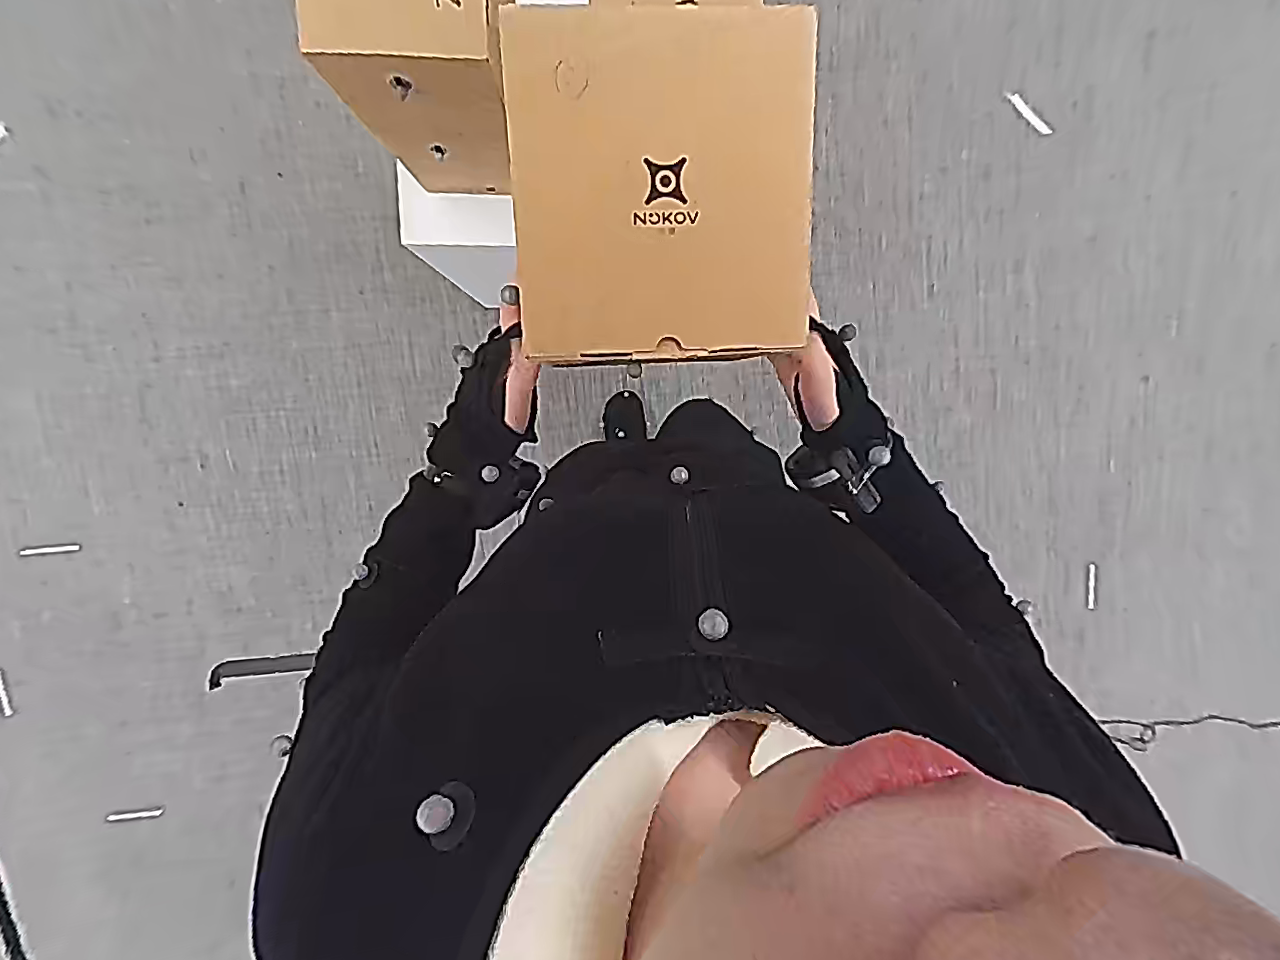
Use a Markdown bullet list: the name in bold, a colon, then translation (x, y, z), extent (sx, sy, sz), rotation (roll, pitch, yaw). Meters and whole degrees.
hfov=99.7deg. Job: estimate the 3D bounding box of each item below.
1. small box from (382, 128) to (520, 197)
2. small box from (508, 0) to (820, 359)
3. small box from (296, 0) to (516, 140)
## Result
- **small box**: translation (-0.238, -0.512, 0.732), extent (0.168, 0.176, 0.179), rotation (1, 97, -2)
- **small box**: translation (0.008, -0.176, 0.370), extent (0.168, 0.176, 0.179), rotation (-3, 103, -4)
- **small box**: translation (-0.231, -0.485, 0.570), extent (0.179, 0.176, 0.168), rotation (0, 99, -3)
